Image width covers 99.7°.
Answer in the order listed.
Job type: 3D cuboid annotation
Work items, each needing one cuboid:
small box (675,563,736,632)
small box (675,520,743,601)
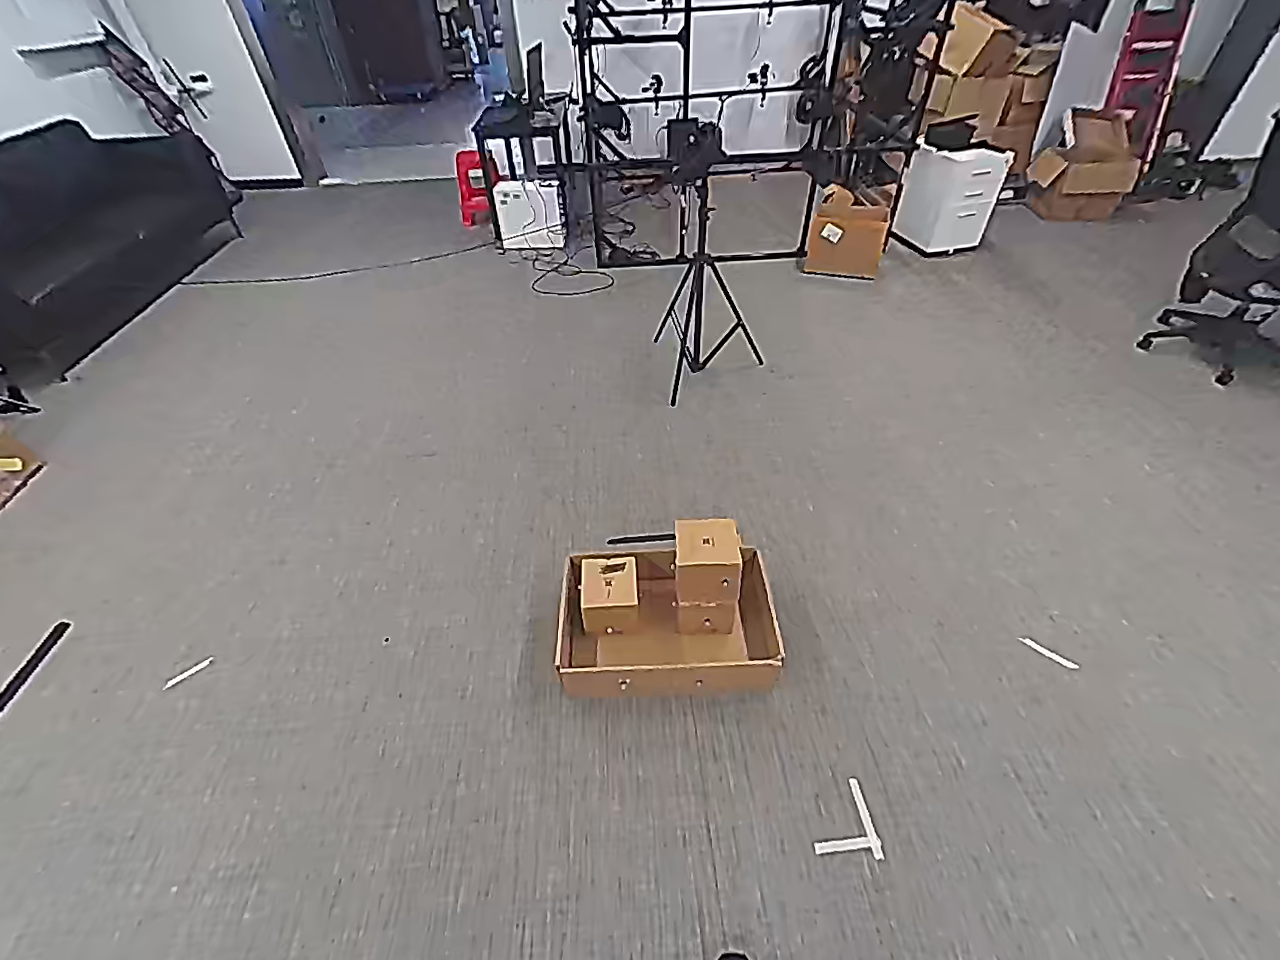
[{"bbox_3d":[0.195,0.352,1.647,0.168,0.176,0.179,-3,45,1],"label":"small box"},{"bbox_3d":[0.191,0.231,1.538,0.179,0.176,0.168,-3,42,3],"label":"small box"}]
